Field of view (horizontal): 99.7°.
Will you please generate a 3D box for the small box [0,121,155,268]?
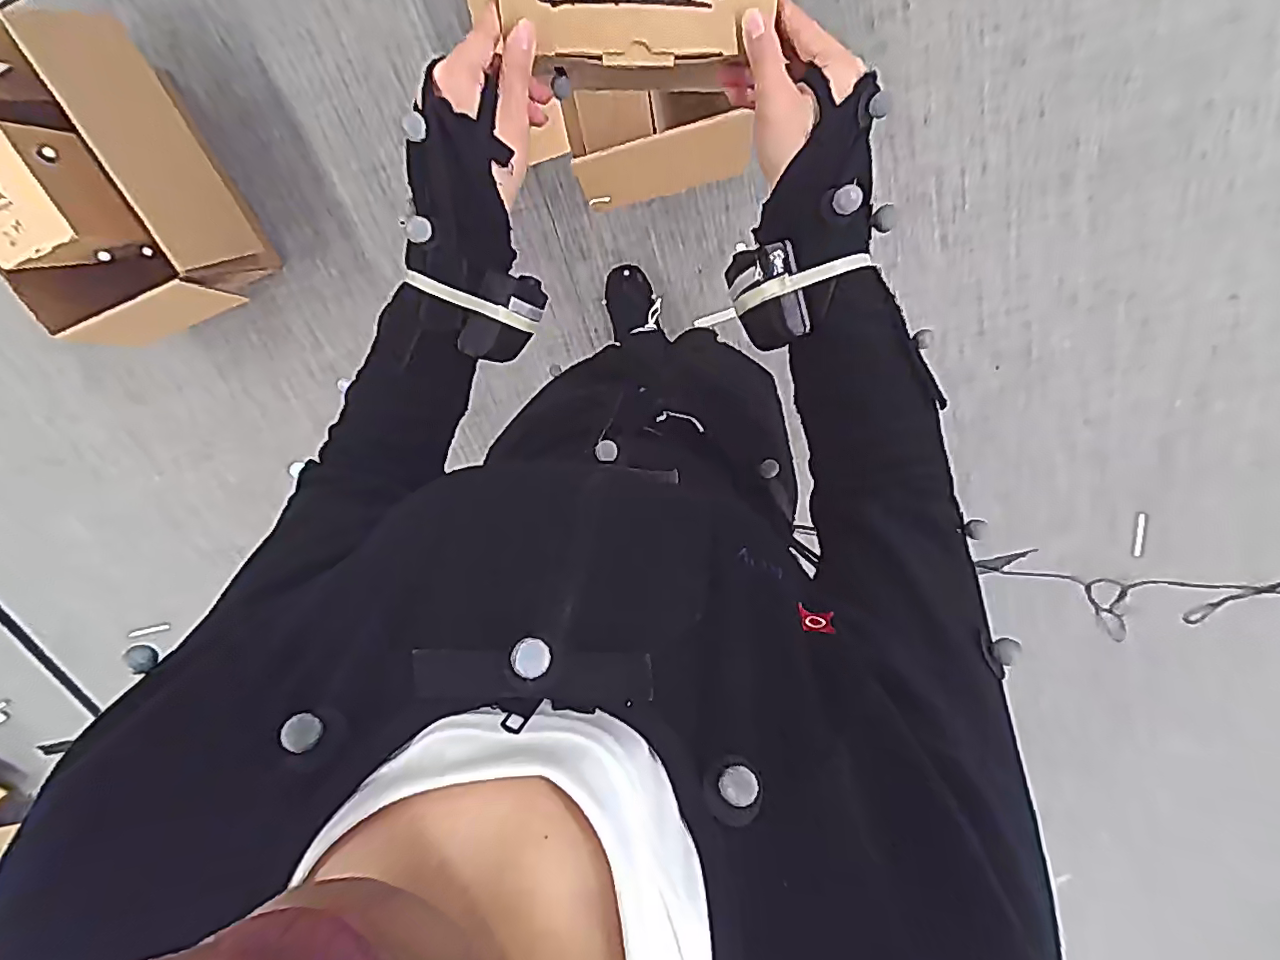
[{"bbox_3d":[-1.033,-0.489,0.948,0.168,0.176,0.179,-16,114,9],"label":"small box"}]
